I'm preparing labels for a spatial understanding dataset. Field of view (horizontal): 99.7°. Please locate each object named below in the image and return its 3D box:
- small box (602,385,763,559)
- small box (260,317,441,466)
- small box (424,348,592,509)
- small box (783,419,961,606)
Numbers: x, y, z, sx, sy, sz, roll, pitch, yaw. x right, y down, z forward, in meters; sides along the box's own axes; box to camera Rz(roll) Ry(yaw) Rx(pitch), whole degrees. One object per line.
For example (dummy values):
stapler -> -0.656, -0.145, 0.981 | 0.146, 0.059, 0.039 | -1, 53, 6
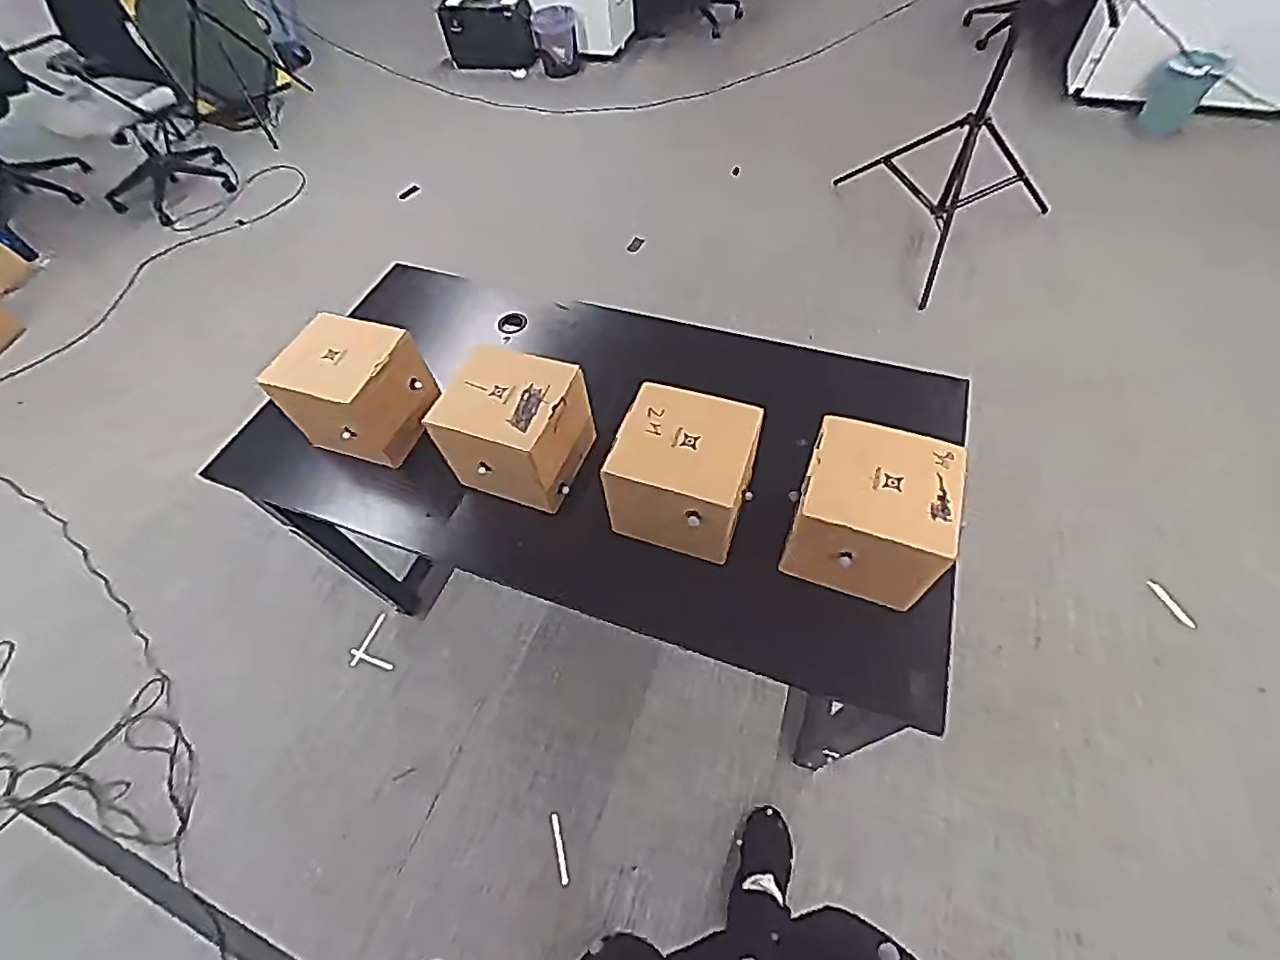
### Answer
small box -> 0.063, -0.005, 0.778 | 0.179, 0.176, 0.168 | 15, 59, 14
small box -> -0.469, -0.143, 0.912 | 0.179, 0.176, 0.168 | 13, 58, 13
small box -> -0.190, -0.075, 0.844 | 0.179, 0.176, 0.168 | 16, 59, 15
small box -> 0.300, 0.048, 0.726 | 0.179, 0.176, 0.168 | 16, 59, 16
